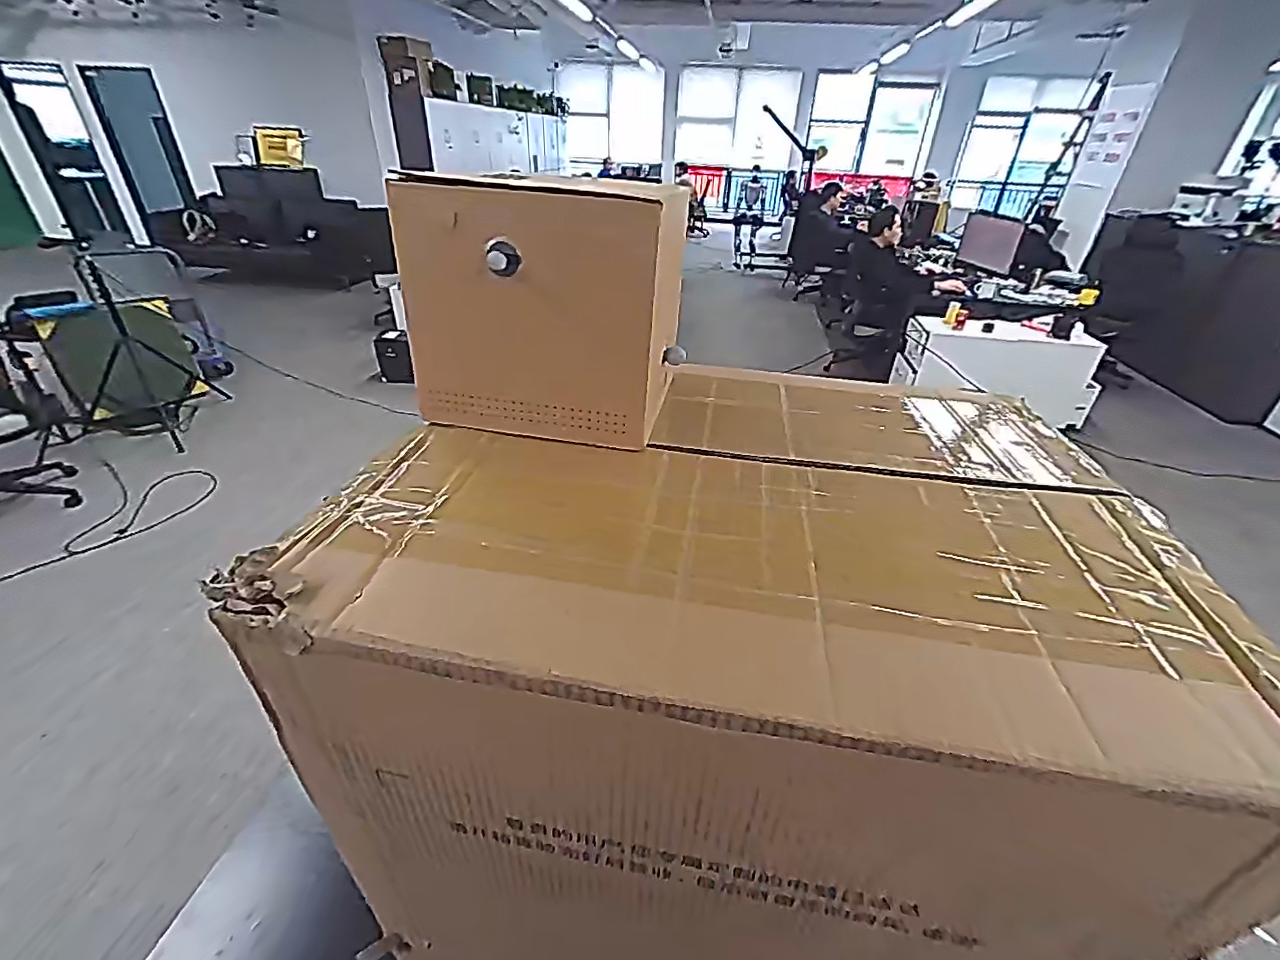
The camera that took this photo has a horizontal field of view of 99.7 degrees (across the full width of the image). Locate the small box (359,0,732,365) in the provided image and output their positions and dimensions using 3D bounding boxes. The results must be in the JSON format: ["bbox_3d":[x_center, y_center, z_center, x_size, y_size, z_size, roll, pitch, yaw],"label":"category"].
[{"bbox_3d":[-0.040,-0.182,0.351,0.179,0.176,0.168,8,31,6],"label":"small box"}]
